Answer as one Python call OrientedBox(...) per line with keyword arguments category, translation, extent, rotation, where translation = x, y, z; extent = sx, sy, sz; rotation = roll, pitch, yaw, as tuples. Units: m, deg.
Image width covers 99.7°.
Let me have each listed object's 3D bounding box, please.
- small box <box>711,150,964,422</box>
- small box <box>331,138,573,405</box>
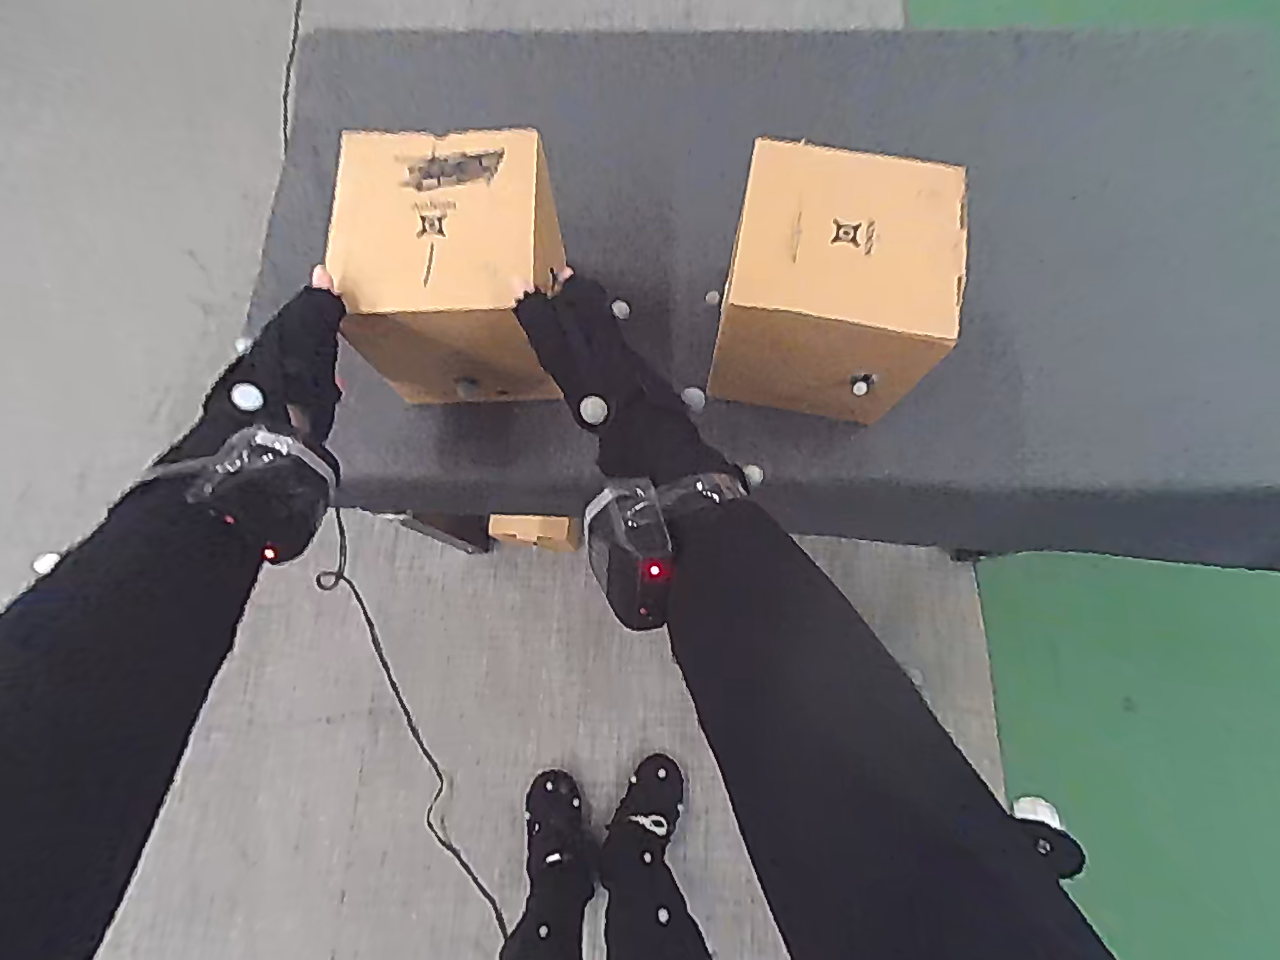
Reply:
OrientedBox(category="small box", translation=(0.172, -0.168, 0.511), extent=(0.179, 0.176, 0.168), rotation=(10, 73, 5))
OrientedBox(category="small box", translation=(-0.157, -0.186, 0.515), extent=(0.168, 0.176, 0.179), rotation=(-2, 74, 0))
